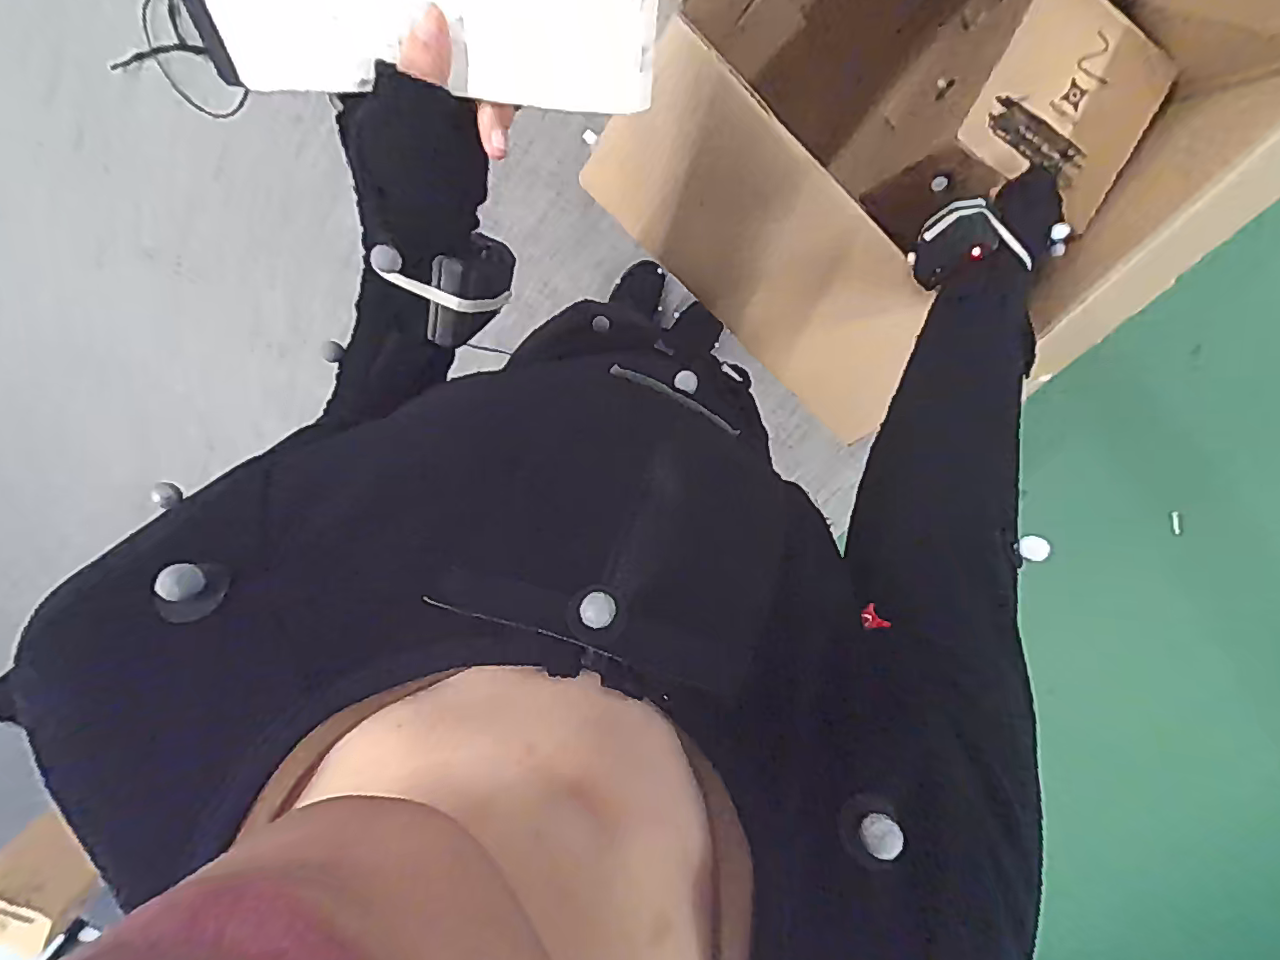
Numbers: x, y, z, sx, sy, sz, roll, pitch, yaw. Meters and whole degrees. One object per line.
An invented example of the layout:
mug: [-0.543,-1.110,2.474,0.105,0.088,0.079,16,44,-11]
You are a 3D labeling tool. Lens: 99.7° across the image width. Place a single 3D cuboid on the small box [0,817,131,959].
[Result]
small box: [-1.205,0.835,1.105,0.168,0.176,0.179,33,112,-10]
